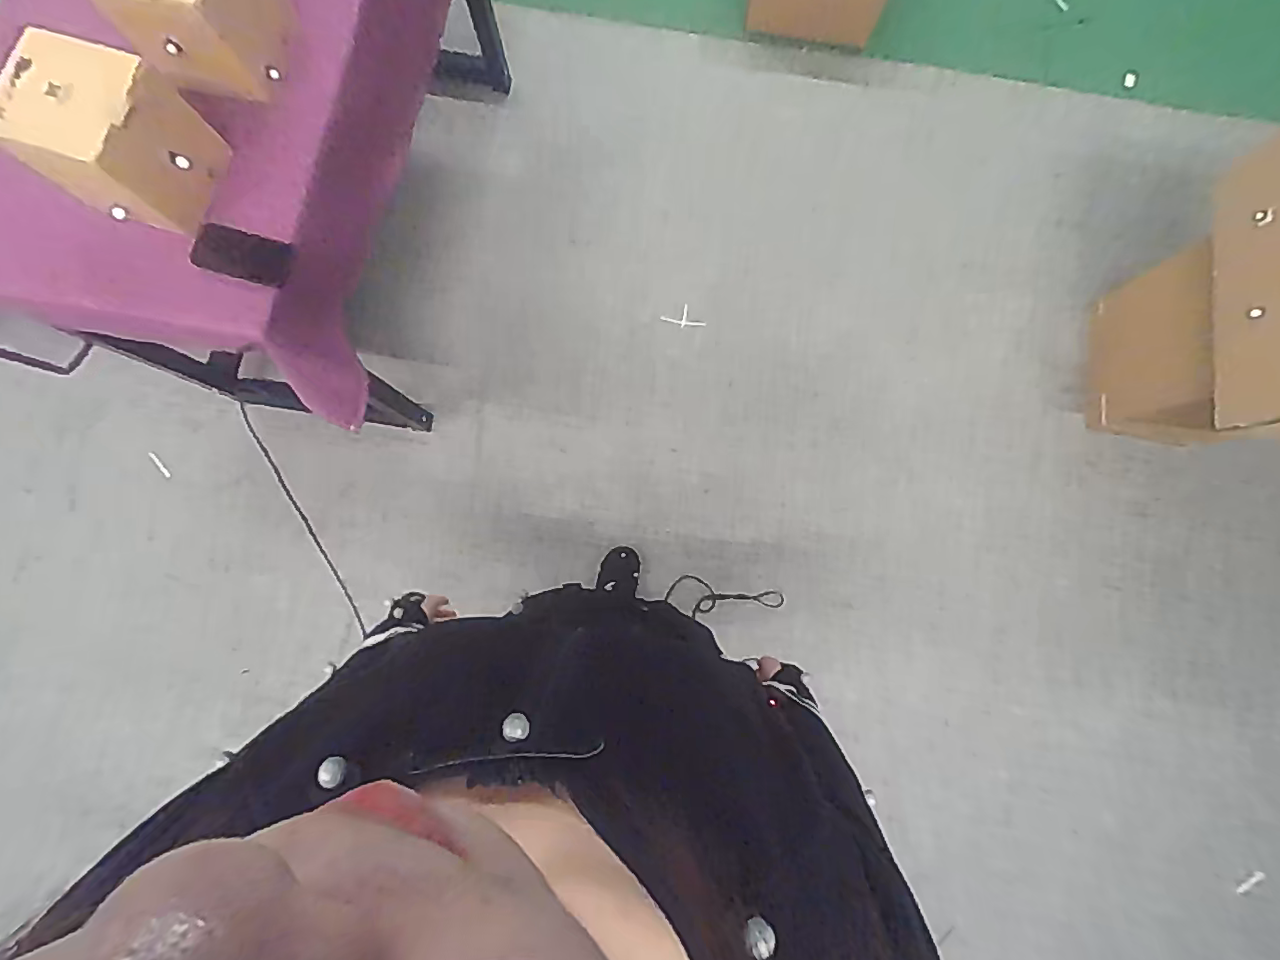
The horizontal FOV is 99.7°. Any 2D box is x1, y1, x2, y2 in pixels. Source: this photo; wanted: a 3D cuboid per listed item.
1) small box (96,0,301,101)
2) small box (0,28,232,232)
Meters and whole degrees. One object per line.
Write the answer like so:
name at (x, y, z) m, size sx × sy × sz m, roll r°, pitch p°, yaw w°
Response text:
small box at (-0.671, -0.730, 0.836) m, size 0.179 × 0.176 × 0.168 m, roll 10°, pitch 81°, yaw 2°
small box at (-0.765, -0.502, 0.801) m, size 0.179 × 0.176 × 0.168 m, roll 18°, pitch 82°, yaw 2°
